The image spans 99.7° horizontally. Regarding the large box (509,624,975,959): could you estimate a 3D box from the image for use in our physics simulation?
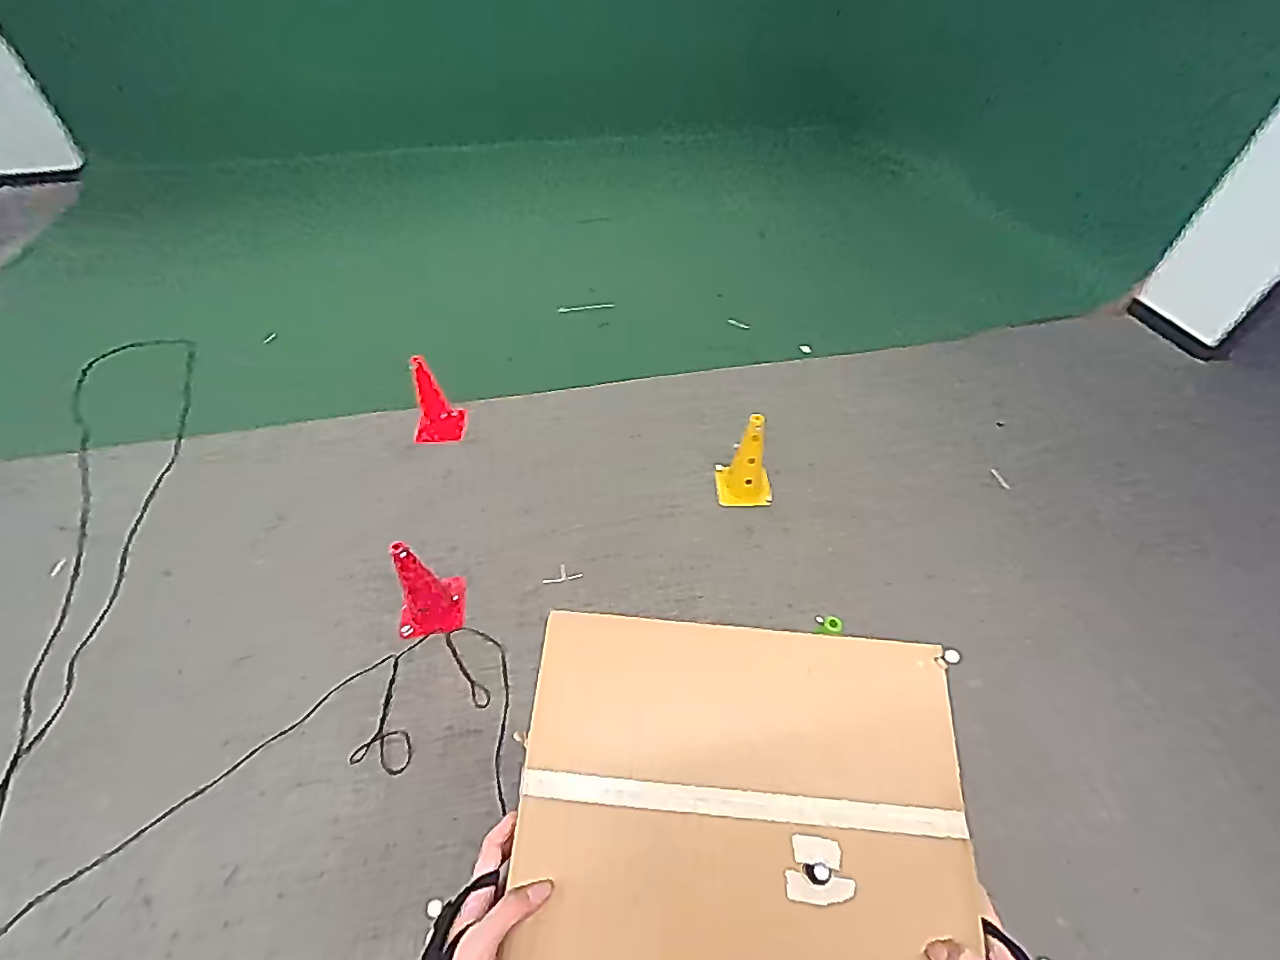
[{"bbox_3d":[0.089,0.363,0.638,0.408,0.320,0.320,4,66,1],"label":"large box"}]

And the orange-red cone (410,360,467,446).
[{"bbox_3d":[-0.856,-0.330,2.191,0.199,0.360,0.198,-4,48,-1],"label":"orange-red cone"}]
